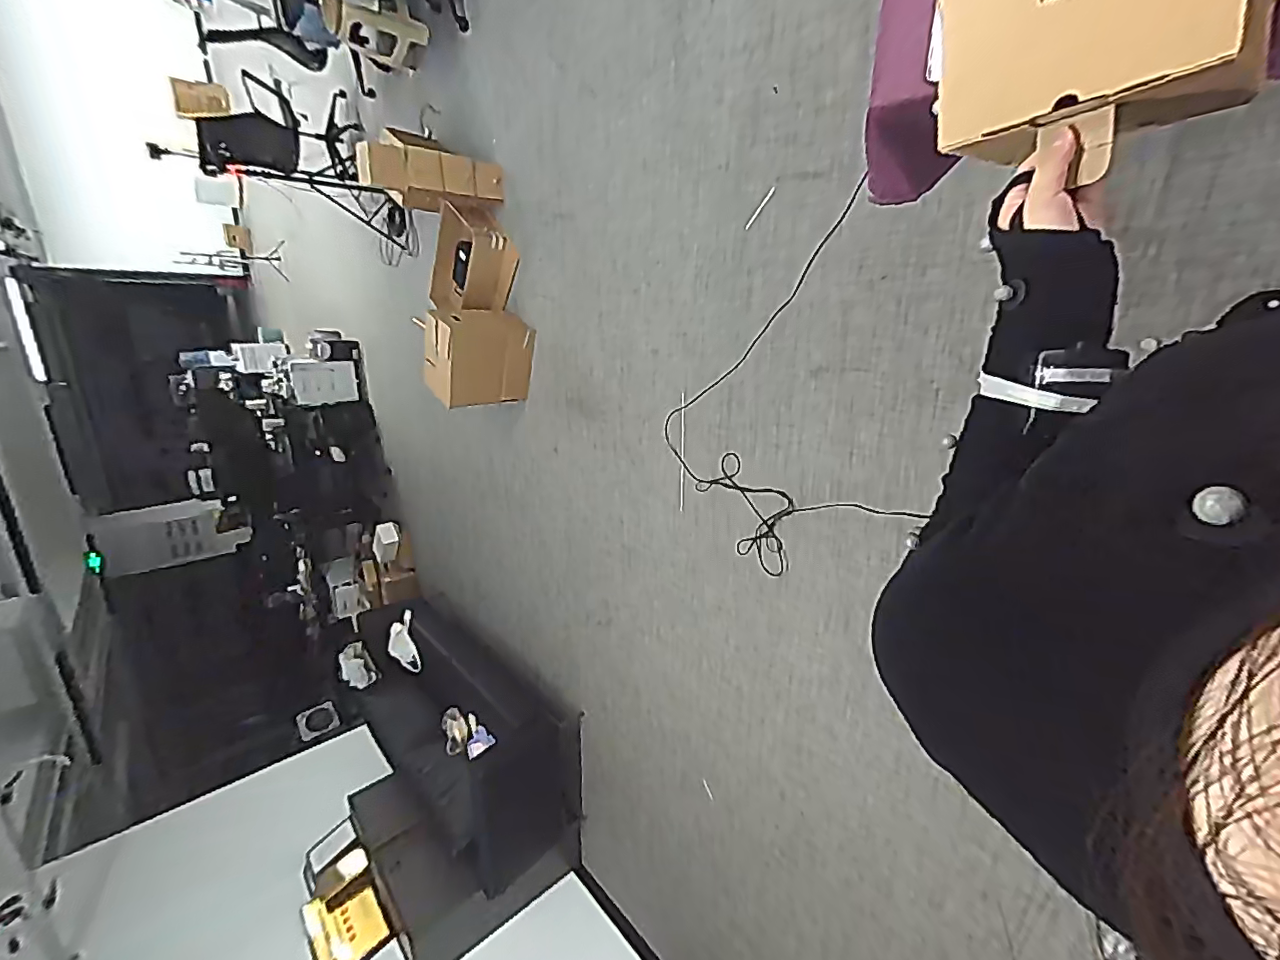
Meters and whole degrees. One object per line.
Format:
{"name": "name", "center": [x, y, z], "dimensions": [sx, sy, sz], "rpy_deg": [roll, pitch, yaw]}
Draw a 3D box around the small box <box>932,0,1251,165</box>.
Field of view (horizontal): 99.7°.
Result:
{"name": "small box", "center": [0.343, -0.363, 0.411], "dimensions": [0.168, 0.176, 0.179], "rpy_deg": [10, 115, 48]}
